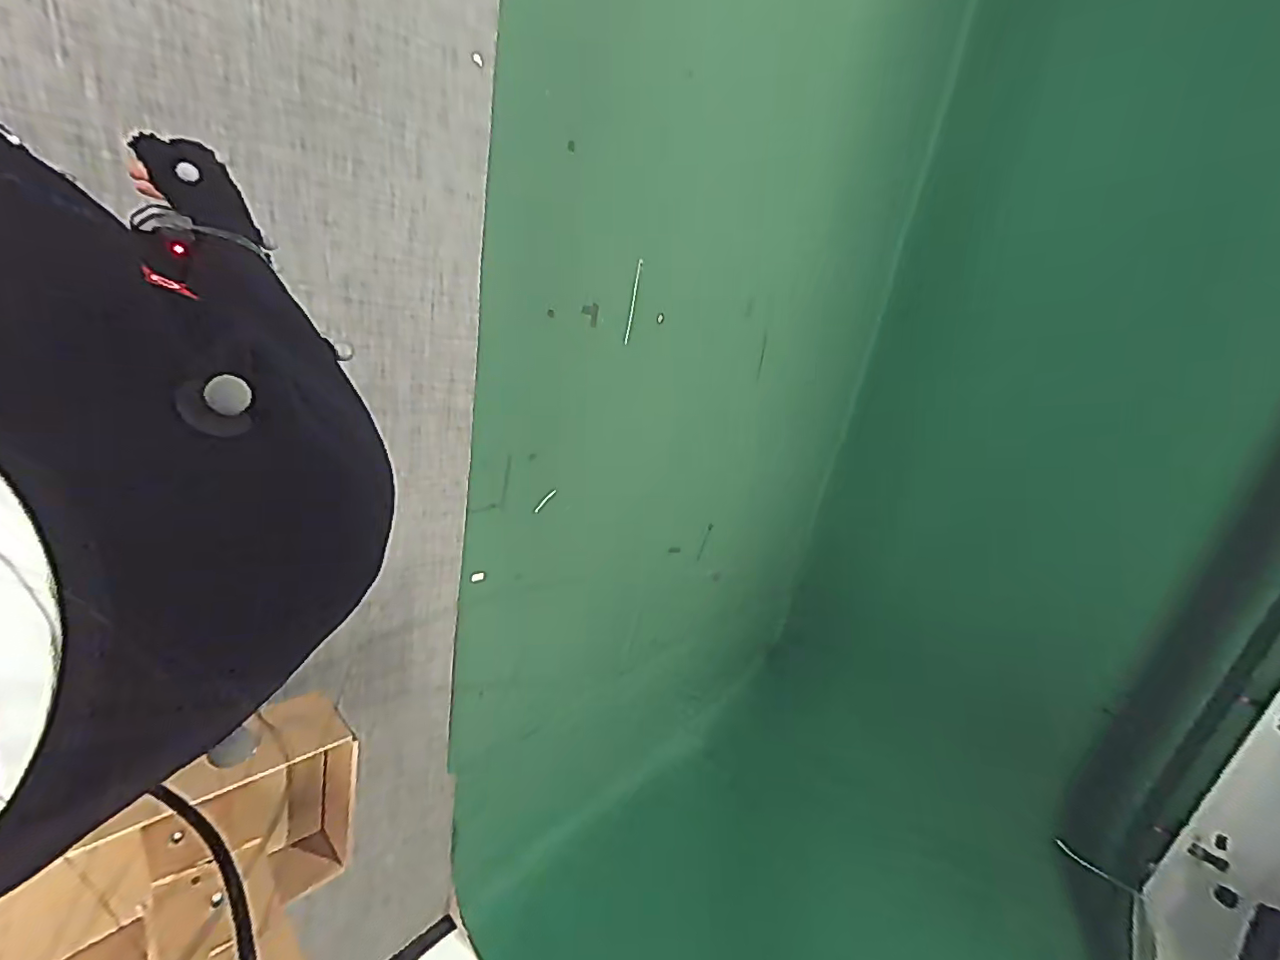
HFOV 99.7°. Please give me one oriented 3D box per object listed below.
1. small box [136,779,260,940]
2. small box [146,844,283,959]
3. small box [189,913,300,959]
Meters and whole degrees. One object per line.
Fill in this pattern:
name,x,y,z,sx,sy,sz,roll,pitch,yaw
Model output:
small box,-0.862,0.722,1.052,0.168,0.176,0.179,-3,115,-47
small box,-0.752,0.791,0.953,0.168,0.176,0.179,-4,113,-46
small box,-0.635,0.848,0.850,0.179,0.176,0.168,-7,116,-45
